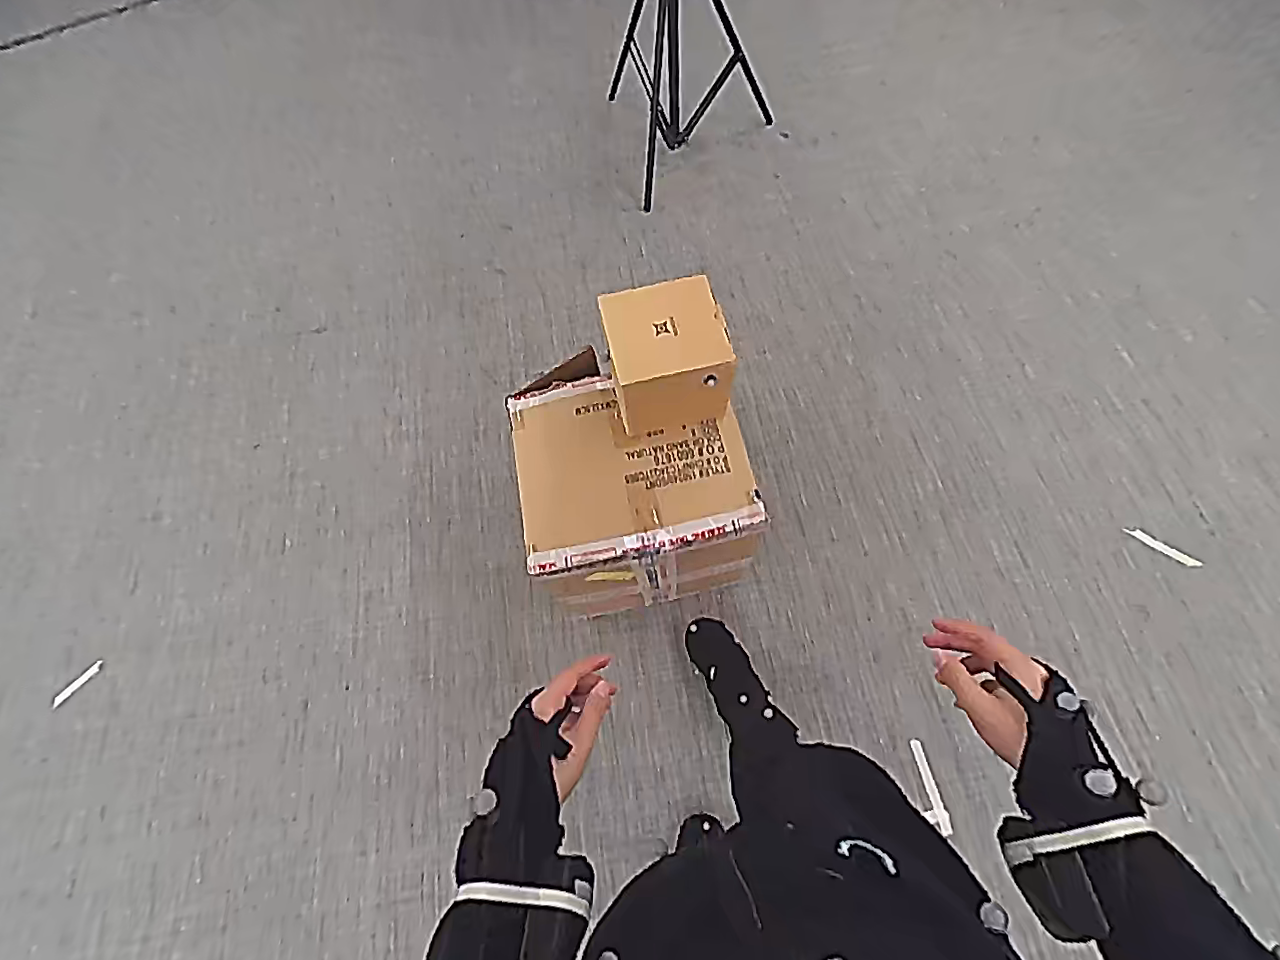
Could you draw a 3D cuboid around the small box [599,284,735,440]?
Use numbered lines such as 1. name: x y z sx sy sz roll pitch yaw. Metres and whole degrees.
1. small box: 0.041 -0.182 0.879 0.179 0.176 0.168 -13 68 -4
